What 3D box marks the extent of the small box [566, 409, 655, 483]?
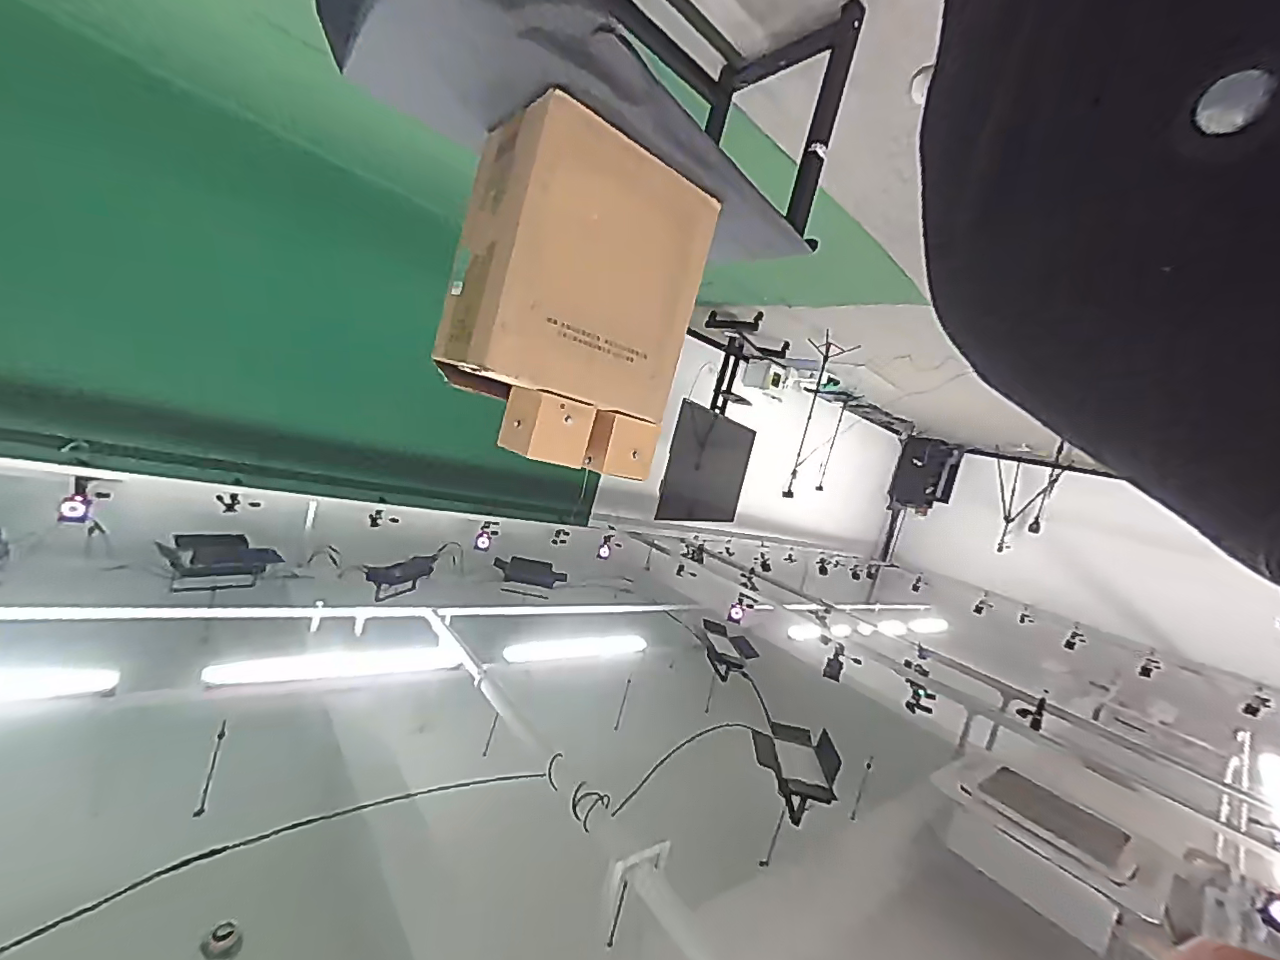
[{"bbox_3d":[-0.081,-0.096,1.548,0.168,0.176,0.179,15,-176,43],"label":"small box"}]
